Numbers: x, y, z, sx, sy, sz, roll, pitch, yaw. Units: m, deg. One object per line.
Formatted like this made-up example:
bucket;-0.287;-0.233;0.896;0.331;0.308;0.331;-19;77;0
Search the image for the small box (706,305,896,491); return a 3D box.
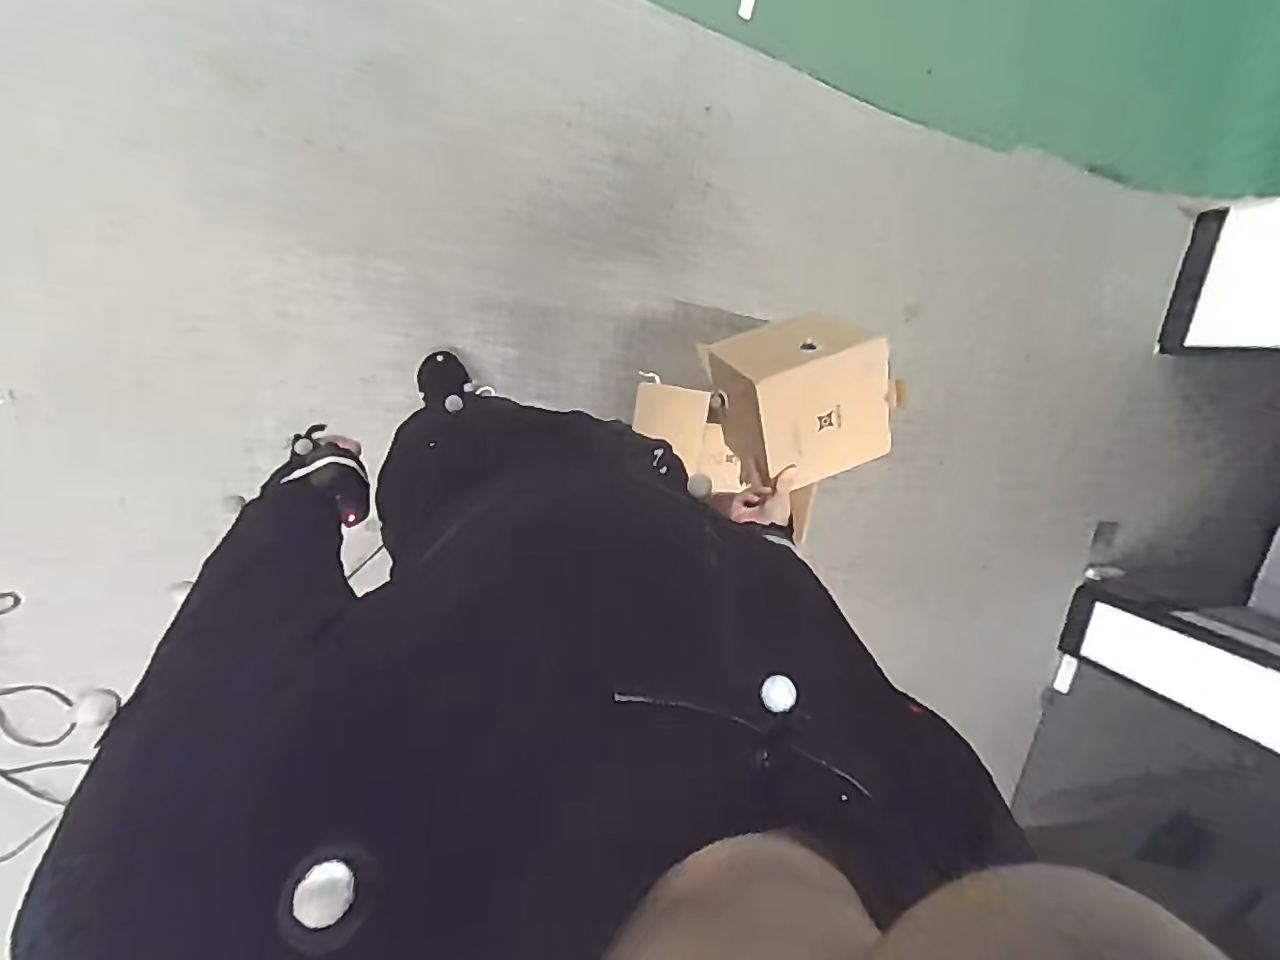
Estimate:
small box;0.209;-0.118;0.719;0.179;0.176;0.168;-21;121;-3
